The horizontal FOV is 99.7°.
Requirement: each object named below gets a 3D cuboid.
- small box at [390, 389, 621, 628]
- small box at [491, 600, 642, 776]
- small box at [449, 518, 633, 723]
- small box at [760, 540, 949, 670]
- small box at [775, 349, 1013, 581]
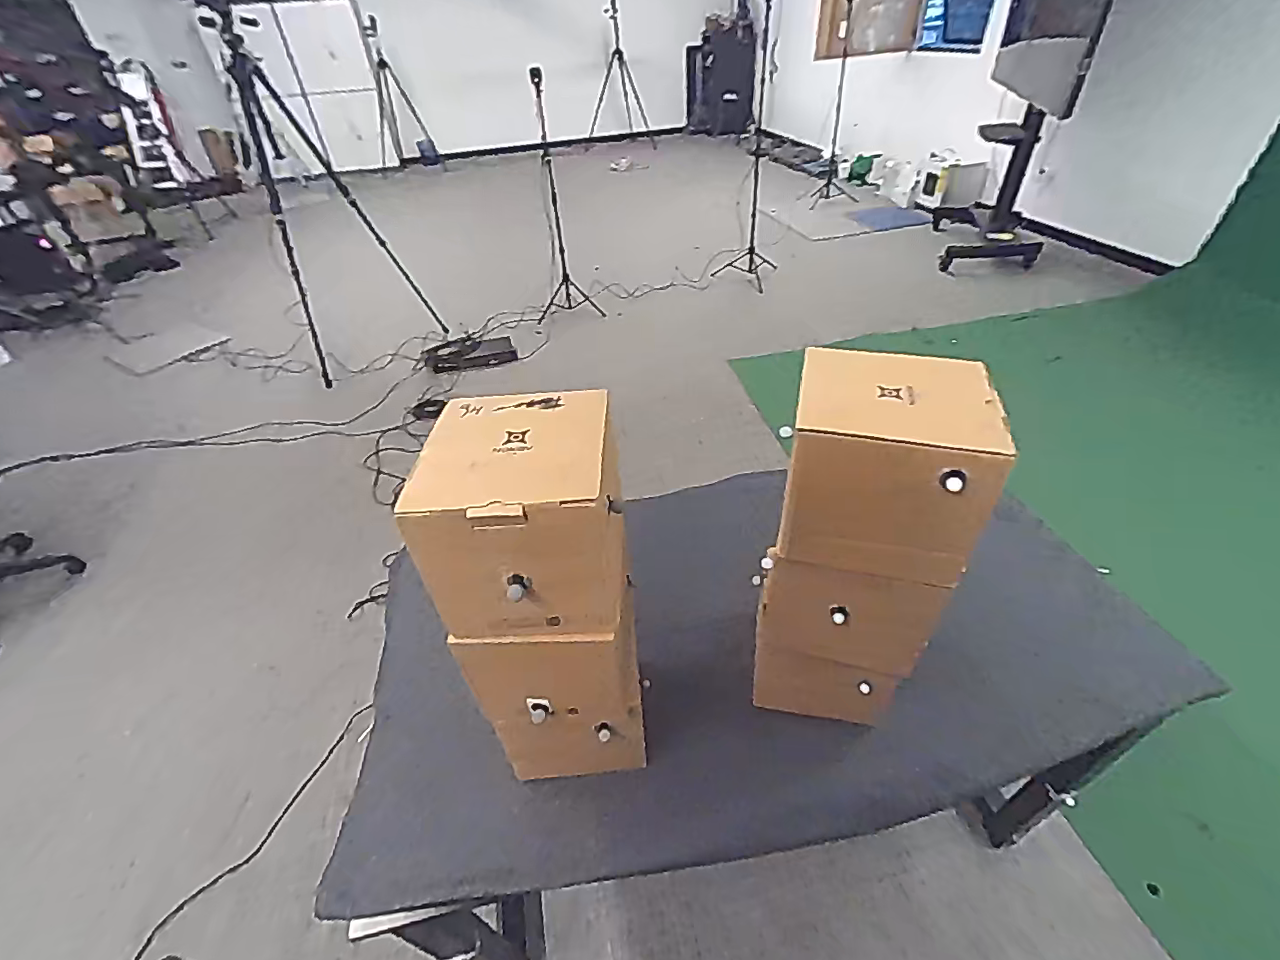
[{"bbox_3d":[-0.109,0.032,0.533,0.168,0.176,0.179,-3,41,3],"label":"small box"},{"bbox_3d":[-0.088,0.283,0.742,0.179,0.176,0.168,-5,40,-1],"label":"small box"},{"bbox_3d":[-0.098,0.161,0.634,0.168,0.176,0.179,-3,41,4],"label":"small box"},{"bbox_3d":[0.253,0.106,0.662,0.179,0.176,0.168,10,42,17],"label":"small box"},{"bbox_3d":[0.240,-0.018,0.557,0.179,0.176,0.168,9,41,14],"label":"small box"}]
